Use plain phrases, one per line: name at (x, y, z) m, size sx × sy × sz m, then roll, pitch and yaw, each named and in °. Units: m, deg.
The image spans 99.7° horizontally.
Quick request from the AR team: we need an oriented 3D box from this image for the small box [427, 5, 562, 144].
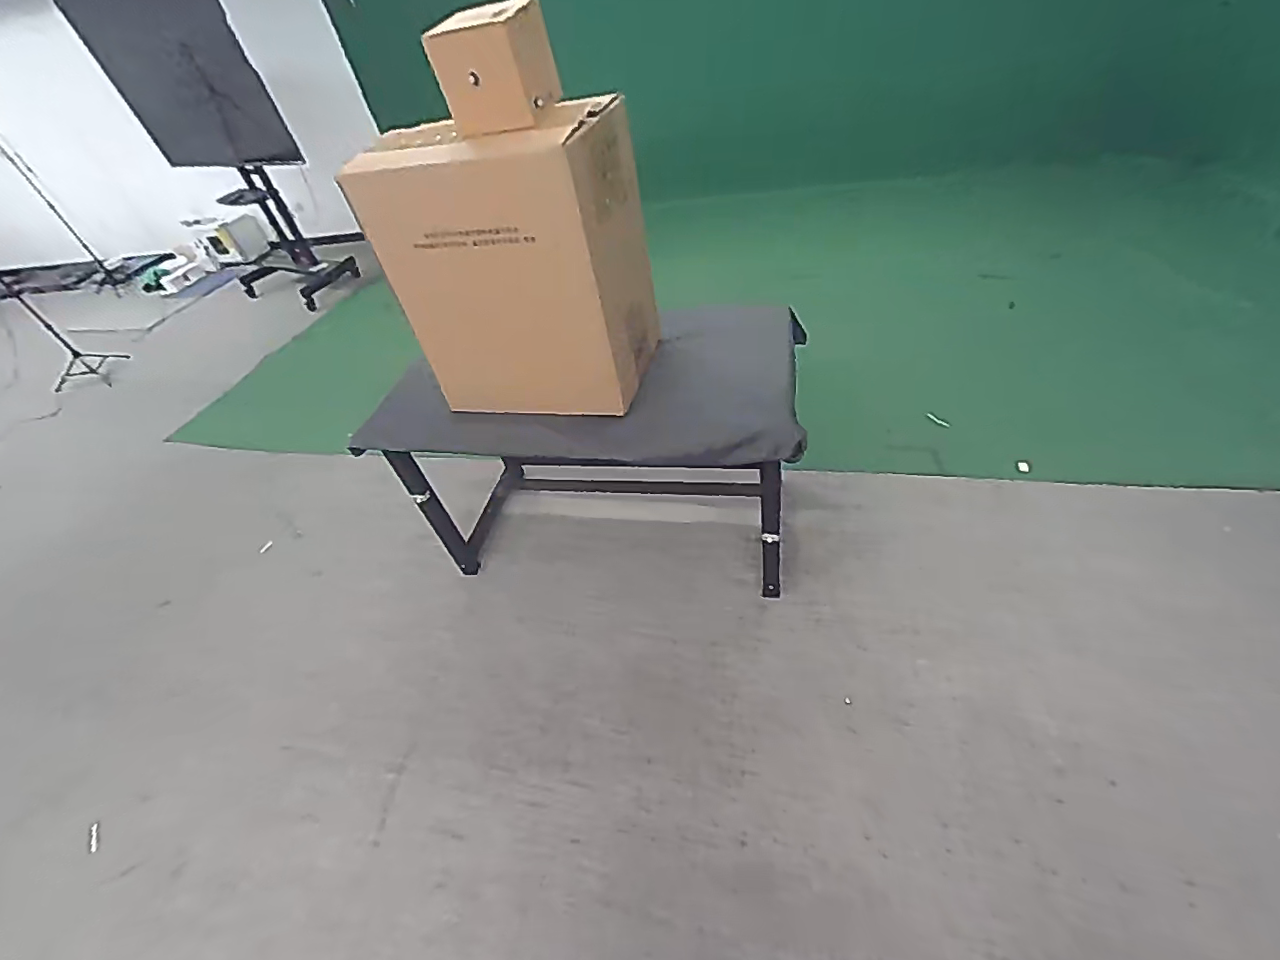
small box at (-0.275, -0.796, 1.072) m, size 0.179 × 0.176 × 0.168 m, roll 4°, pitch 52°, yaw 19°
